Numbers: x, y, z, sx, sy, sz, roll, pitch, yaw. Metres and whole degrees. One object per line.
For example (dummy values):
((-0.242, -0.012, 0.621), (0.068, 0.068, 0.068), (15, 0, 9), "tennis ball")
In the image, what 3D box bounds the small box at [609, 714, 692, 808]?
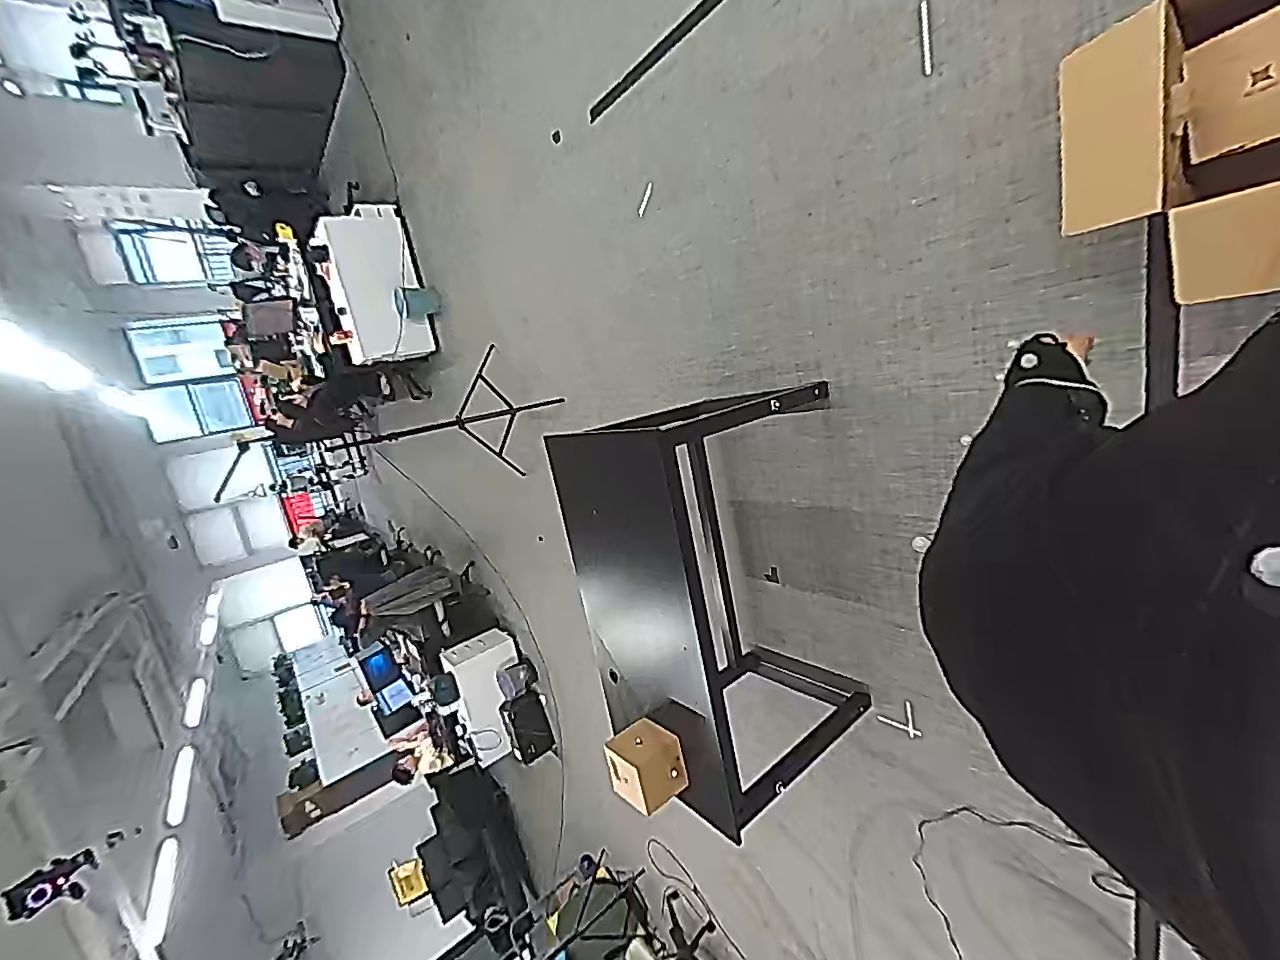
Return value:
((0.034, 0.854, 1.668), (0.179, 0.176, 0.168), (0, 106, 54), "small box")
